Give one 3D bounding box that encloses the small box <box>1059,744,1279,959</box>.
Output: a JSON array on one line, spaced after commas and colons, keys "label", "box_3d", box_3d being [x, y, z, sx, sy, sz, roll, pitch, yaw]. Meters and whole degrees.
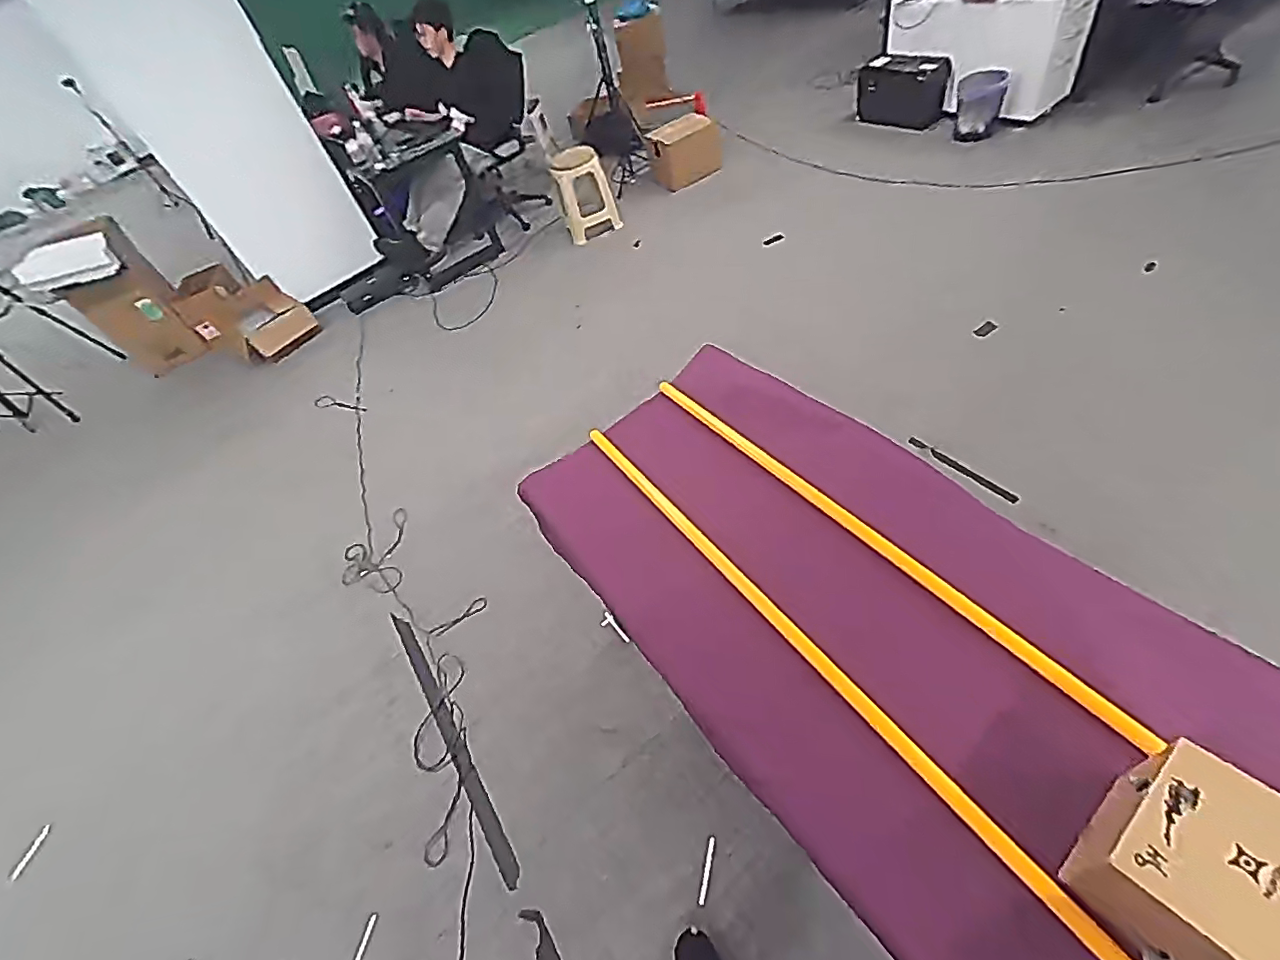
[{"label": "small box", "box_3d": [0.586, 0.415, 0.553, 0.168, 0.176, 0.179, -39, 50, -16]}]
